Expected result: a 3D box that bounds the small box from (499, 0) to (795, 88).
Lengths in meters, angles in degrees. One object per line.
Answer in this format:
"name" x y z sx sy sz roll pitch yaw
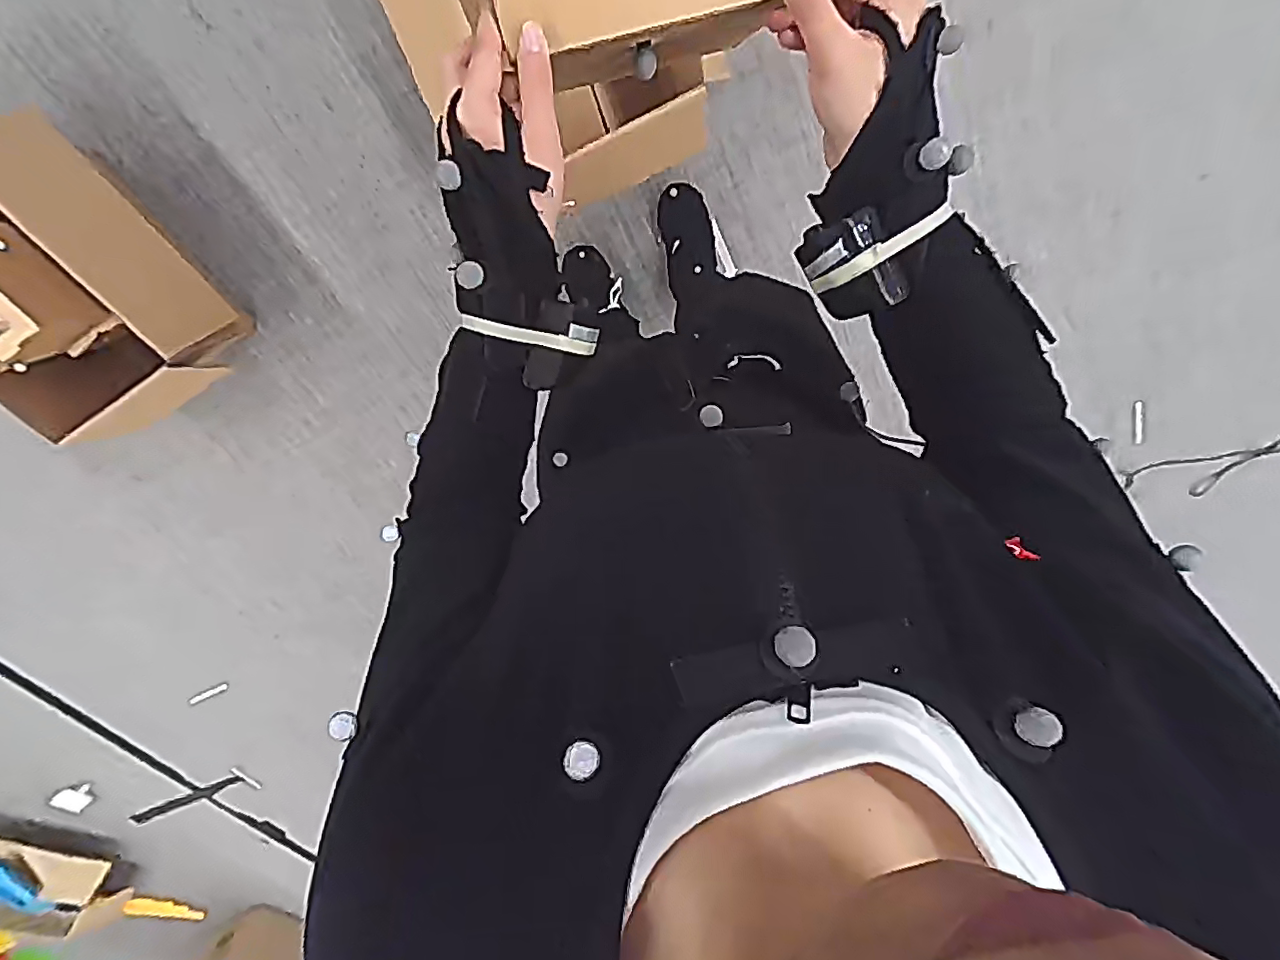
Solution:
"small box" -0.010 -0.365 0.332 0.179 0.176 0.168 -12 120 3
